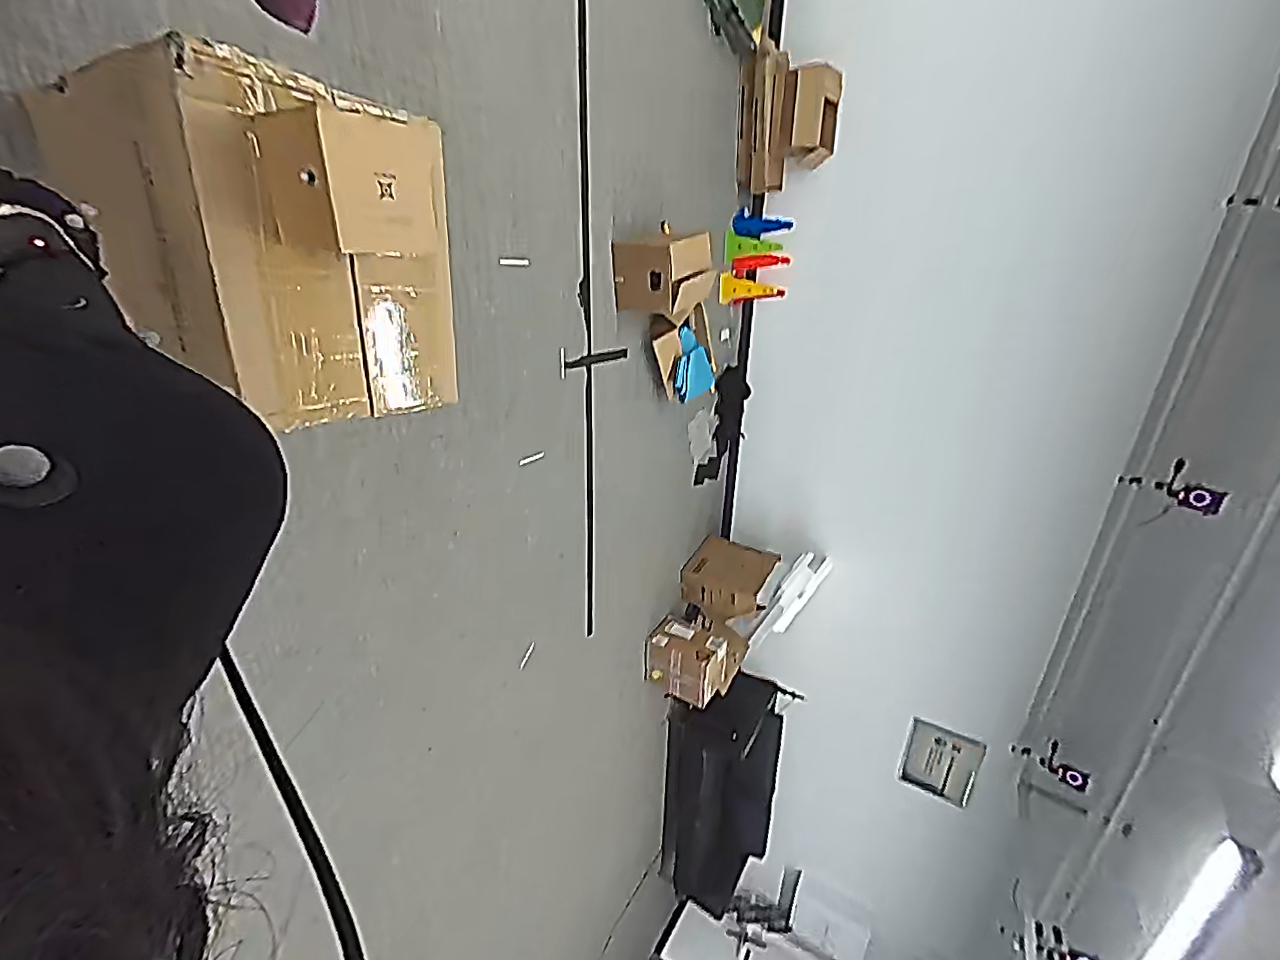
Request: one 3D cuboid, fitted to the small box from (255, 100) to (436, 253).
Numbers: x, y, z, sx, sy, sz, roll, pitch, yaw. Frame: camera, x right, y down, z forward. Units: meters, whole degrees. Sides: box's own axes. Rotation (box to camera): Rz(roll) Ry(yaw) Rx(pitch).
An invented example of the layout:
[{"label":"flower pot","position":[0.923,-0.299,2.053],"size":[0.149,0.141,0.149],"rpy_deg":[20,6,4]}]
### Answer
[{"label":"small box","position":[-0.433,-0.437,0.803],"size":[0.168,0.176,0.179],"rpy_deg":[-29,130,-50]}]
